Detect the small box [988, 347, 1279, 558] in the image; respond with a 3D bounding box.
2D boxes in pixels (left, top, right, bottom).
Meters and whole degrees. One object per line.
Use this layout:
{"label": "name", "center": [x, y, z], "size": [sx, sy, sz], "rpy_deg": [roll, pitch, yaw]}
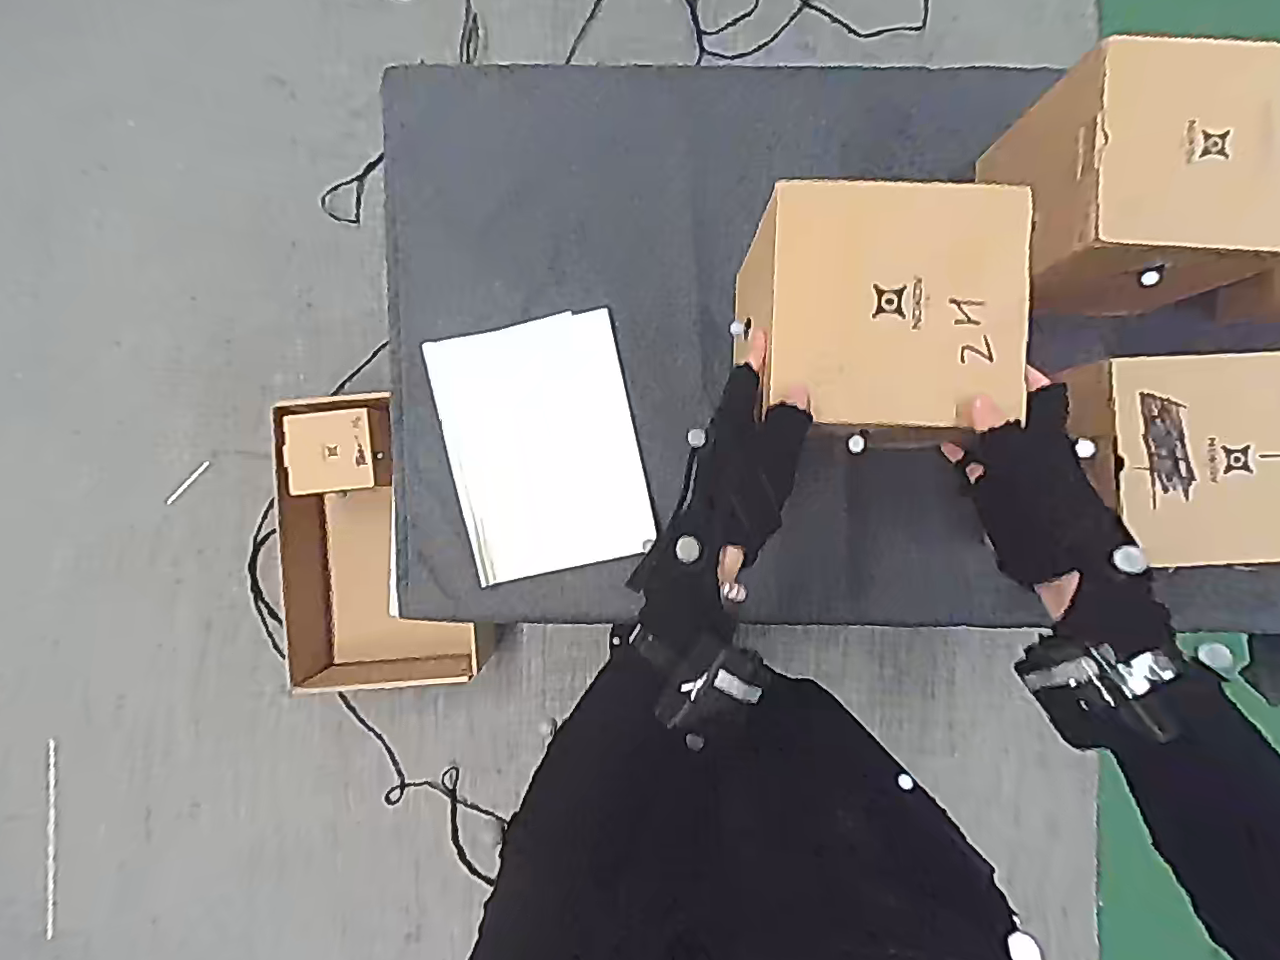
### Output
{"label": "small box", "center": [0.452, -0.018, 0.499], "size": [0.179, 0.176, 0.168], "rpy_deg": [-2, 88, -1]}
